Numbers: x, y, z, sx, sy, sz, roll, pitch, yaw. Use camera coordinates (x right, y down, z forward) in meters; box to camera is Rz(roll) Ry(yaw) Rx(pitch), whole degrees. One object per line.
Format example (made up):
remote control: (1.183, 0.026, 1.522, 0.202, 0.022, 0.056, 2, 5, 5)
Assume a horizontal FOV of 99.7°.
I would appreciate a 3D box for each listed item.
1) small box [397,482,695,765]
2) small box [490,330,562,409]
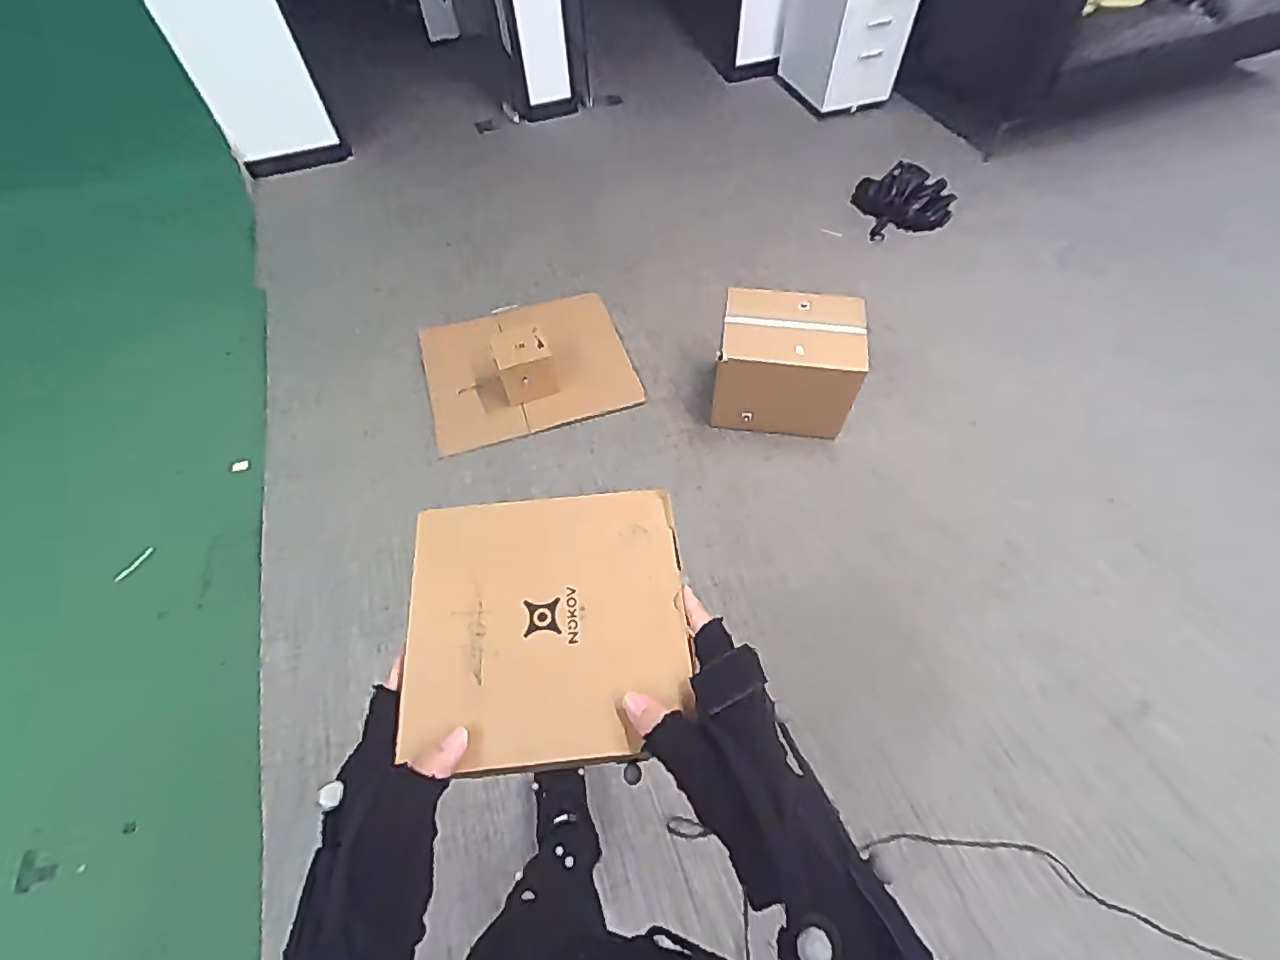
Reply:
small box: (-0.062, 0.119, 0.420, 0.179, 0.176, 0.168, -7, 61, -2)
small box: (-0.379, -0.364, 1.808, 0.179, 0.176, 0.168, -21, 57, -10)
